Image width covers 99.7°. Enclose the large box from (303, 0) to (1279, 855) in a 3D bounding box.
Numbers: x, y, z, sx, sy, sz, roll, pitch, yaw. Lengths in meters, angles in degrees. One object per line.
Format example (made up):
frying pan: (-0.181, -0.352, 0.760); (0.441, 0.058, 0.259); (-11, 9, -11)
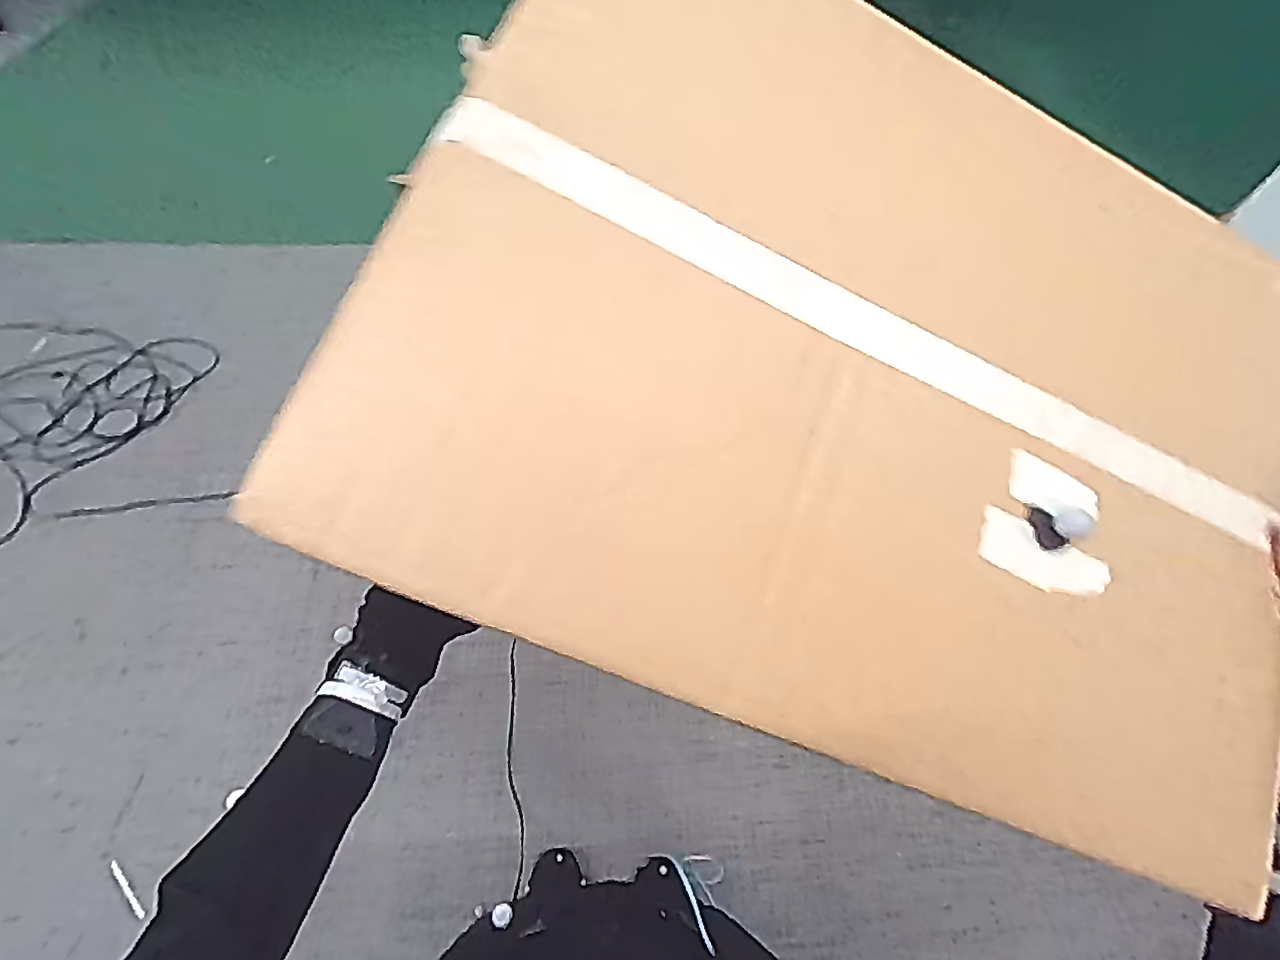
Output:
large box: (0.087, -0.027, 0.376); (0.408, 0.320, 0.320); (23, 77, -9)
